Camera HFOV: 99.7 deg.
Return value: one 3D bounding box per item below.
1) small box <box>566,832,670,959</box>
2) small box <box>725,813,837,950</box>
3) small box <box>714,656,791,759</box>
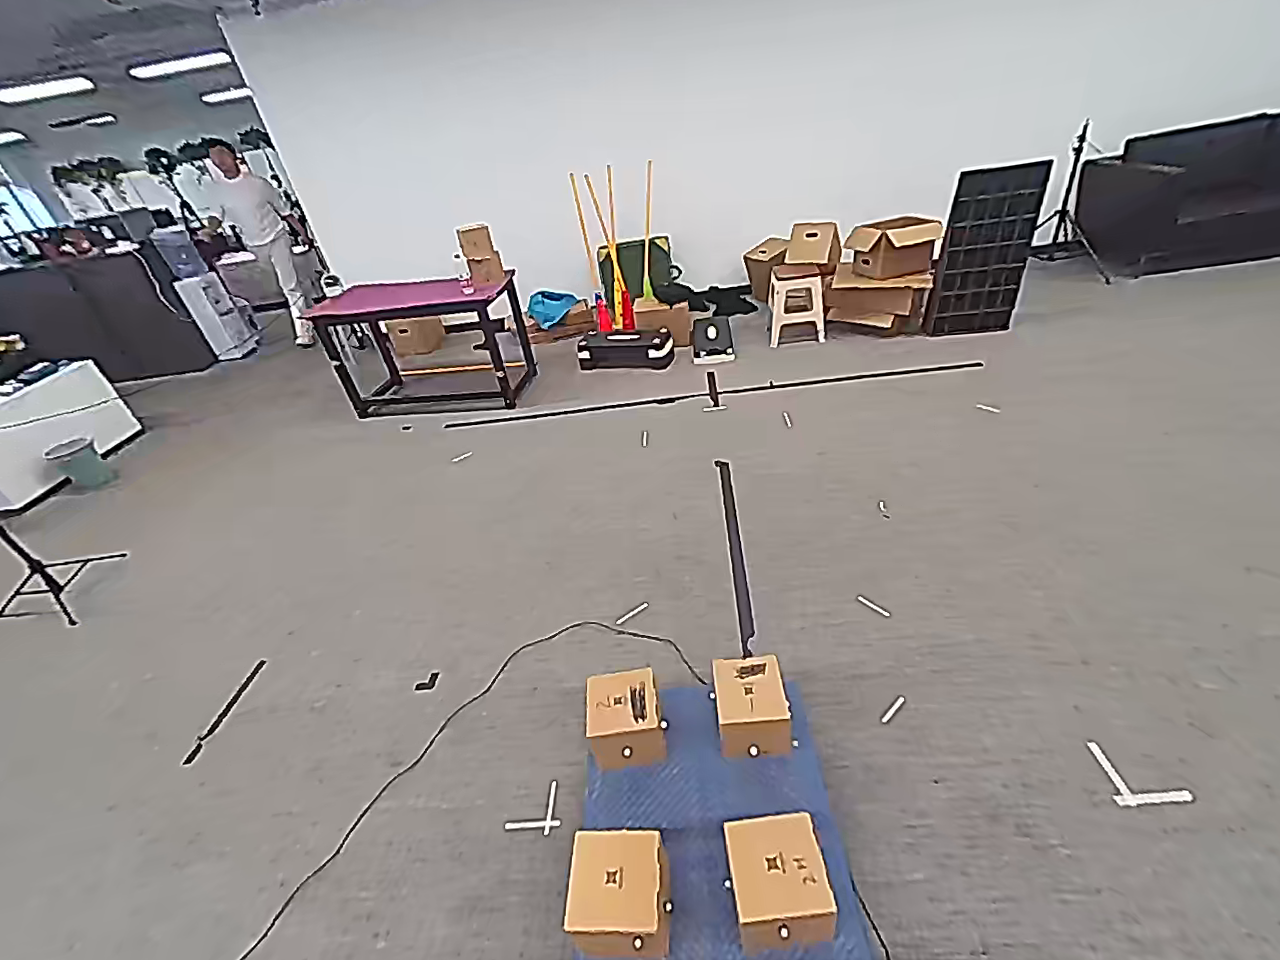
[{"bbox_3d":[-0.035,0.831,1.080,0.179,0.176,0.168,-4,35,5],"label":"small box"},{"bbox_3d":[0.272,0.789,1.061,0.179,0.176,0.168,-9,35,2],"label":"small box"},{"bbox_3d":[0.279,0.574,1.364,0.168,0.176,0.179,-7,36,5],"label":"small box"}]
